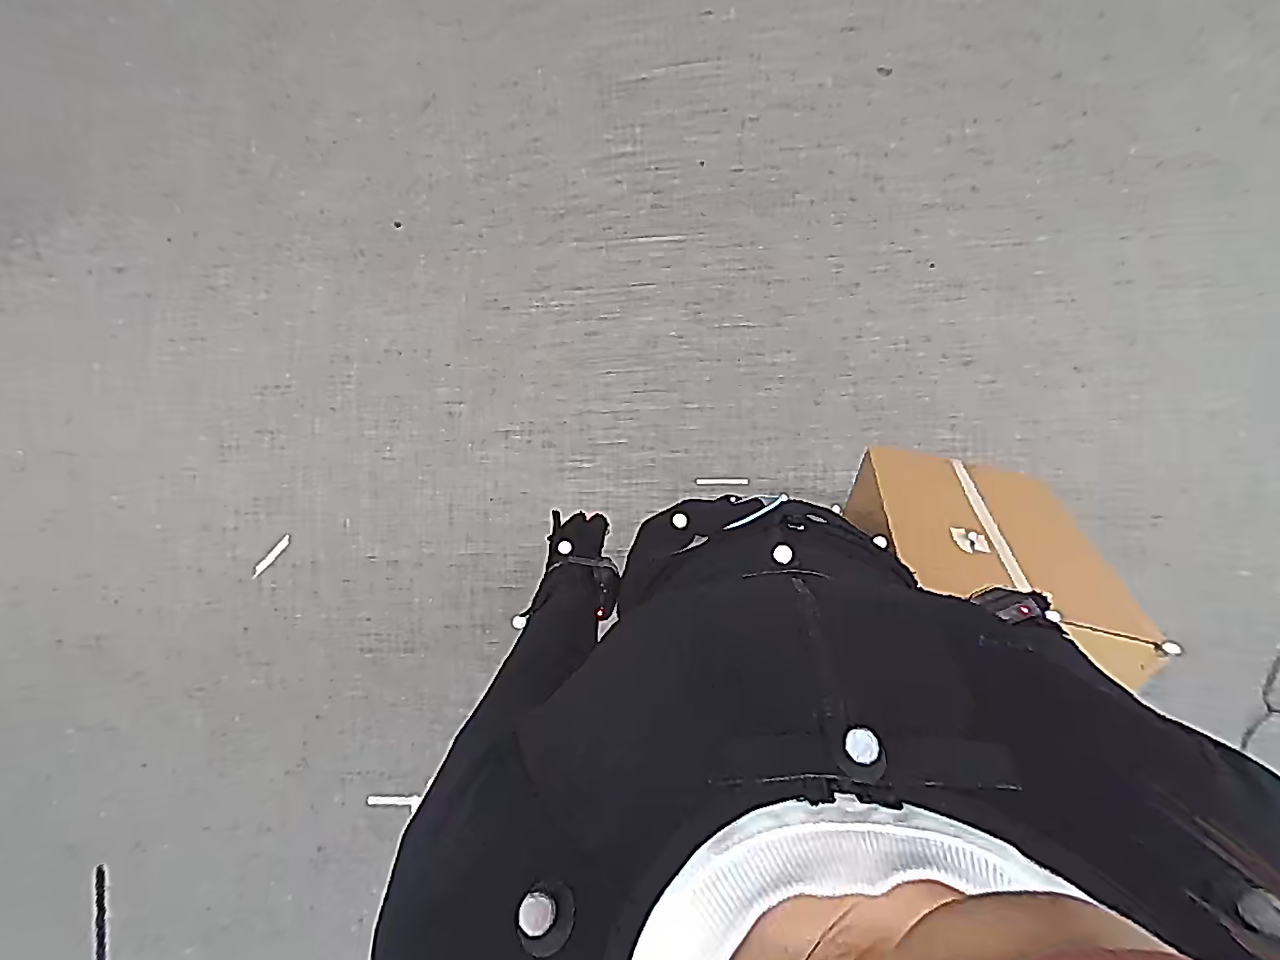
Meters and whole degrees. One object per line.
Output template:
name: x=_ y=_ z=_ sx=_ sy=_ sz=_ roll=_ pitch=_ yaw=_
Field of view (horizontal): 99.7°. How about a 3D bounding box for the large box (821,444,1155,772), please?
large box: x=0.509 y=0.190 z=0.918 sx=0.320 sy=0.408 sz=0.320 roll=11 pitch=126 yaw=9
